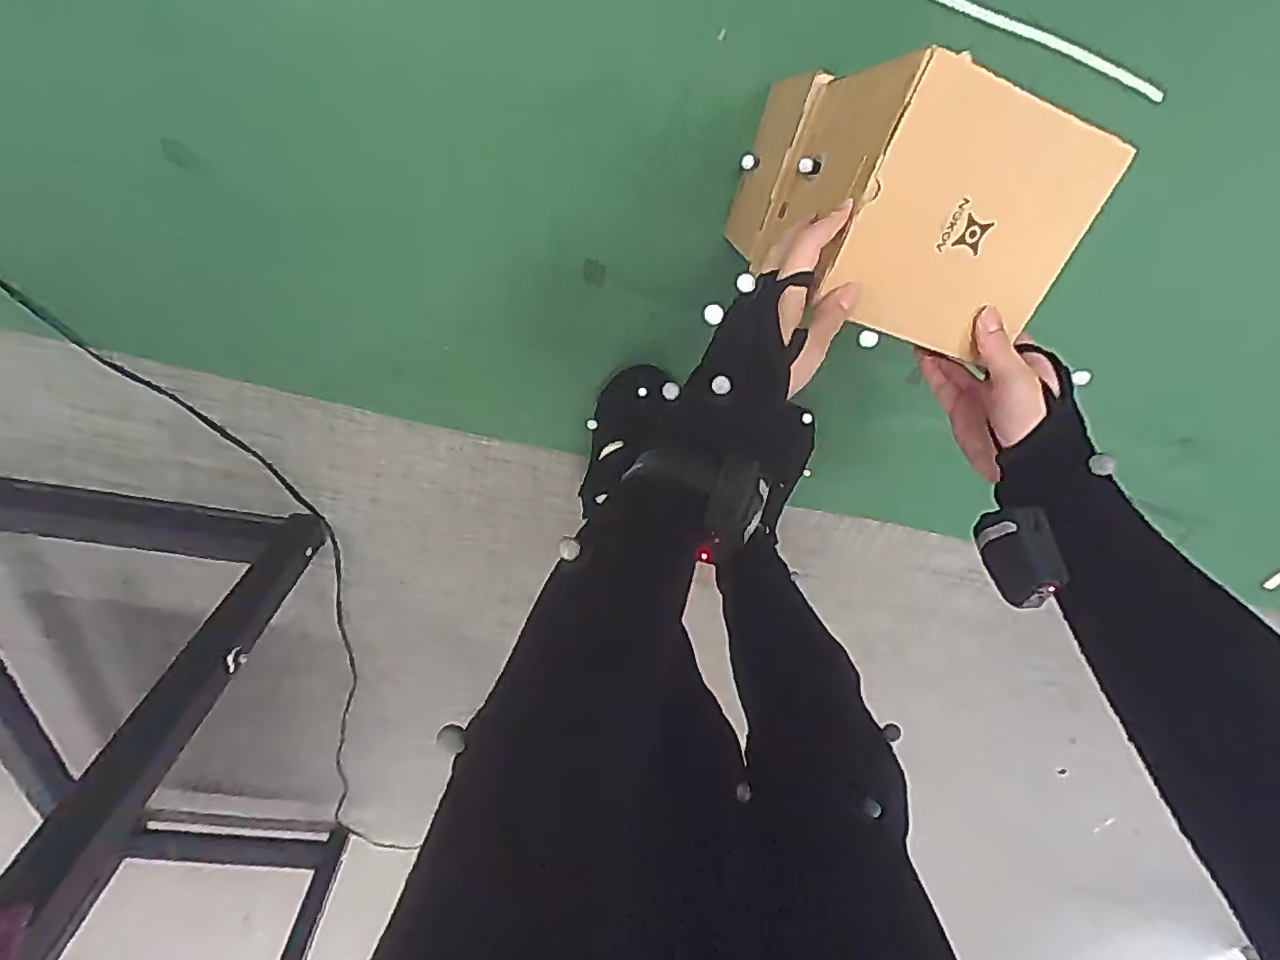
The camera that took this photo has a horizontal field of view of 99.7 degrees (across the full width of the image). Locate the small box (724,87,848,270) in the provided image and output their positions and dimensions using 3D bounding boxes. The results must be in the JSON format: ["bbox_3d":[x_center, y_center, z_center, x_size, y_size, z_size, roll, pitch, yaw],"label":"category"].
[{"bbox_3d":[0.212,-0.312,0.603,0.179,0.176,0.168,12,121,-10],"label":"small box"}]

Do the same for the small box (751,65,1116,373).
[{"bbox_3d":[0.222,-0.213,0.462,0.179,0.176,0.168,14,116,-13],"label":"small box"}]
